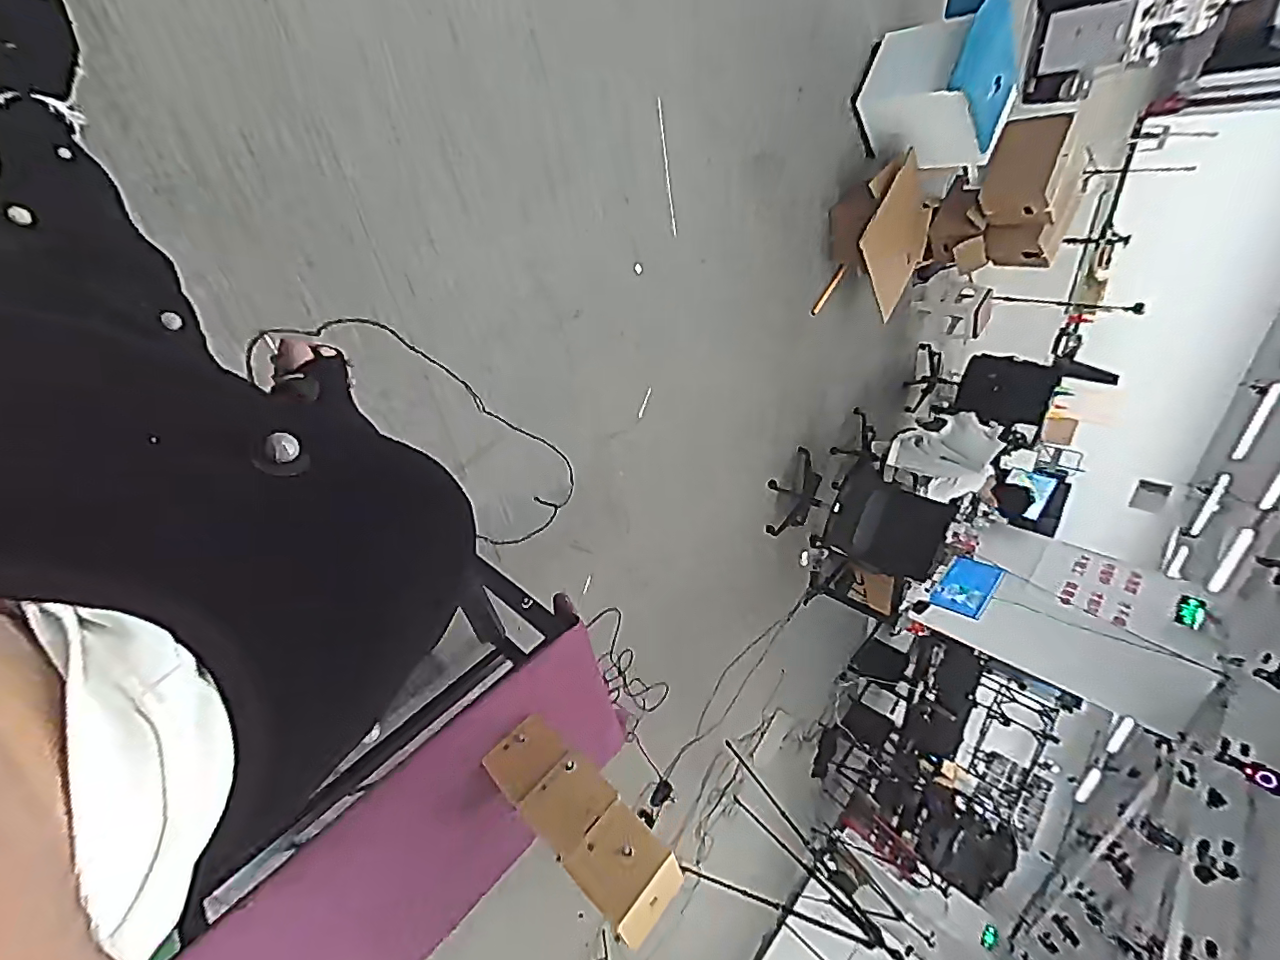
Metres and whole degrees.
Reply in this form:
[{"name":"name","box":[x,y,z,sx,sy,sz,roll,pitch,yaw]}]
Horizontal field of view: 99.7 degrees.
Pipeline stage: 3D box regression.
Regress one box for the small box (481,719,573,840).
[{"name":"small box","box":[-0.265,0.739,1.351,0.168,0.176,0.179,-38,133,-32]}]

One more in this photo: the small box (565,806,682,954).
[{"name":"small box","box":[-0.035,0.833,1.141,0.168,0.176,0.179,-40,135,-30]}]

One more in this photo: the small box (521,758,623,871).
[{"name":"small box","box":[-0.148,0.781,1.245,0.168,0.176,0.179,-38,134,-32]}]
